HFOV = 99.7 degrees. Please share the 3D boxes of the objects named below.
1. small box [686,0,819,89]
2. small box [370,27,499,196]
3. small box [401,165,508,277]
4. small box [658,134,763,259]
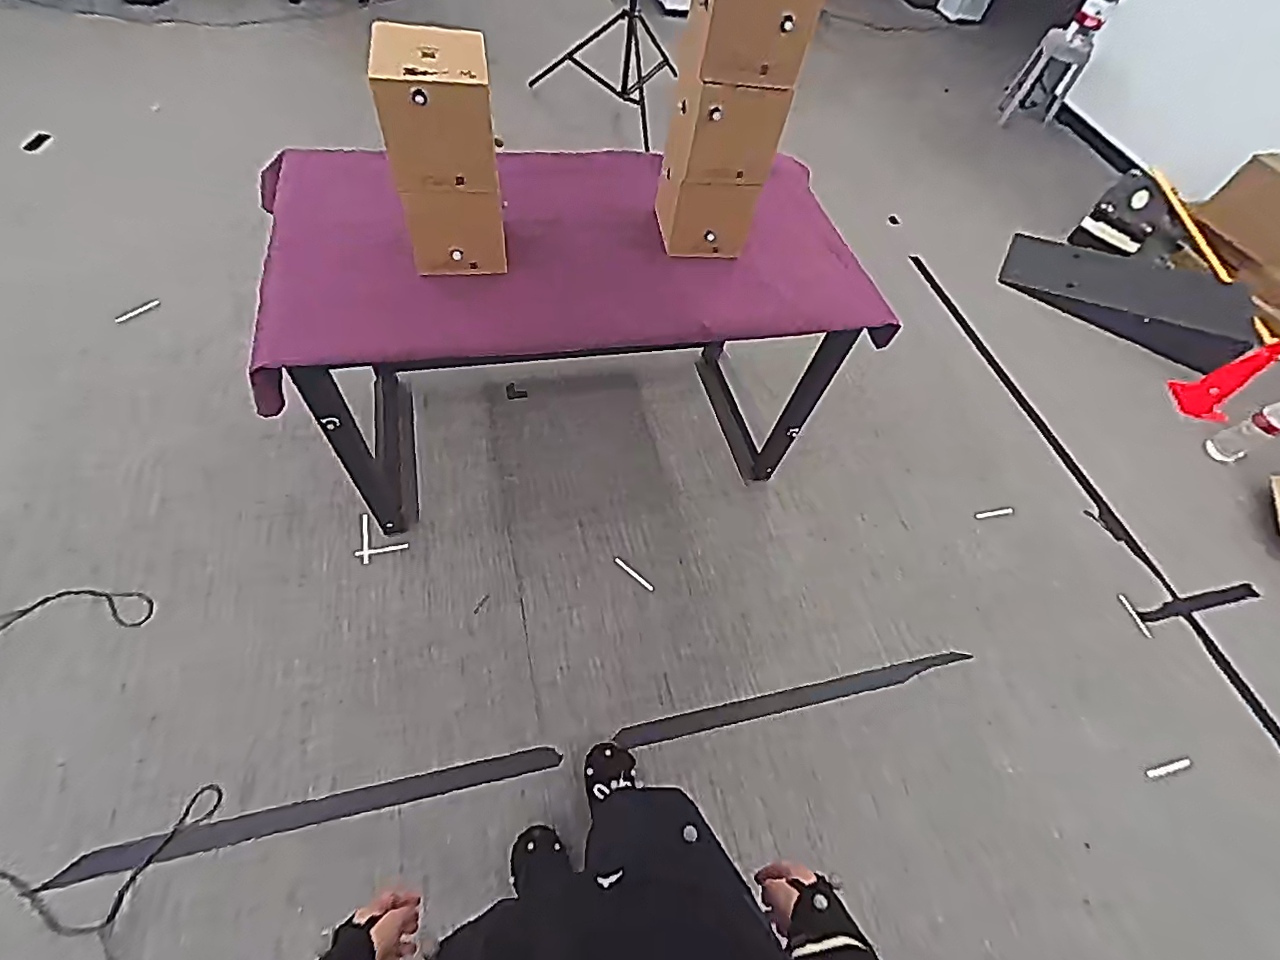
[{"bbox_3d":[0.178,-0.761,0.867,0.168,0.176,0.179,-1,57,-10],"label":"small box"},{"bbox_3d":[-0.323,-0.592,0.878,0.168,0.176,0.179,-6,59,-12],"label":"small box"},{"bbox_3d":[-0.343,-0.507,1.017,0.168,0.176,0.179,-7,61,-13],"label":"small box"},{"bbox_3d":[0.139,-0.597,1.146,0.168,0.176,0.179,-3,59,-10],"label":"small box"}]
